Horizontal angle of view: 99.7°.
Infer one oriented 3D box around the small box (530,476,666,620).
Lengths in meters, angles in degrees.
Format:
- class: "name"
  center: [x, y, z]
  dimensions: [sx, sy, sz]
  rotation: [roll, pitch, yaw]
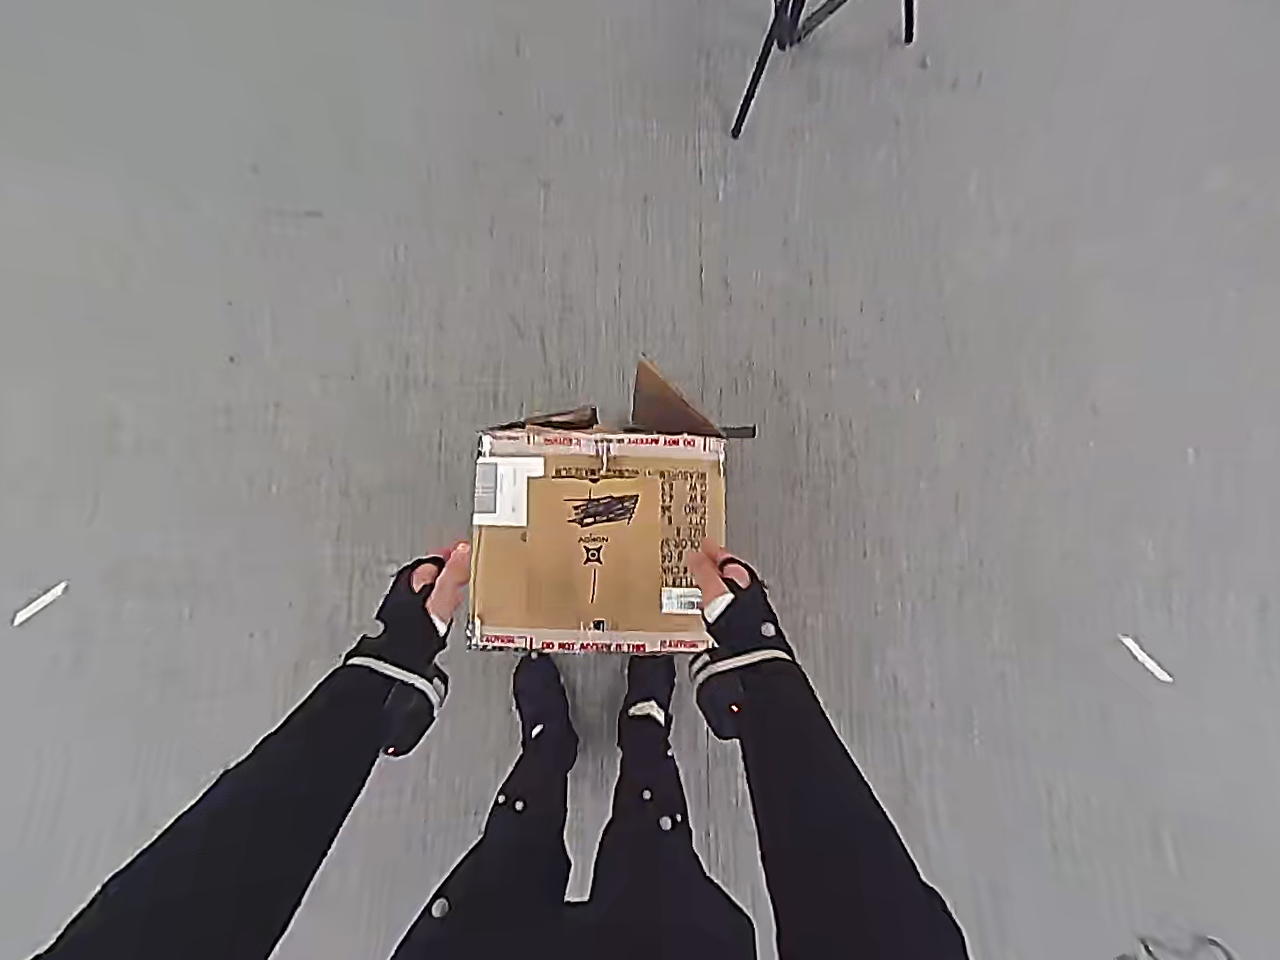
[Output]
- class: "small box"
  center: [-0.054, 0.089, 0.737]
  dimensions: [0.168, 0.176, 0.179]
  rotation: [0, 86, -2]
